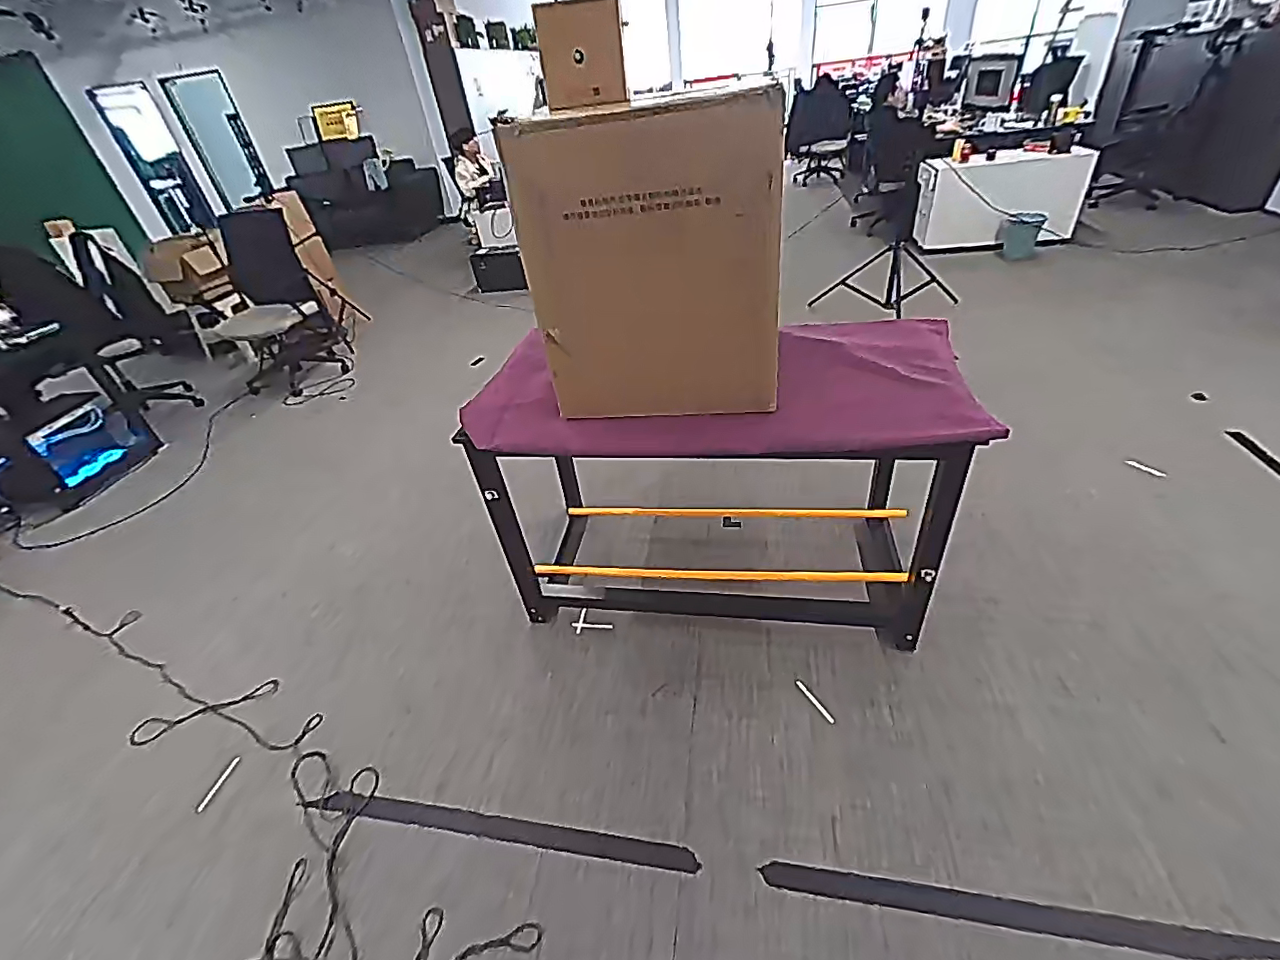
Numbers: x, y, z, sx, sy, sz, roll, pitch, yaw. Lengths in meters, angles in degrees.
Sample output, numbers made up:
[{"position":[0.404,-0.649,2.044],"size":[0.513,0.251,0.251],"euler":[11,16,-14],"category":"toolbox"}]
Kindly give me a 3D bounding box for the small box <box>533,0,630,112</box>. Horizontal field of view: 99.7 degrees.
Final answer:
[{"position":[-0.111,-0.876,1.123],"size":[0.168,0.176,0.179],"euler":[-3,37,4],"category":"small box"}]
